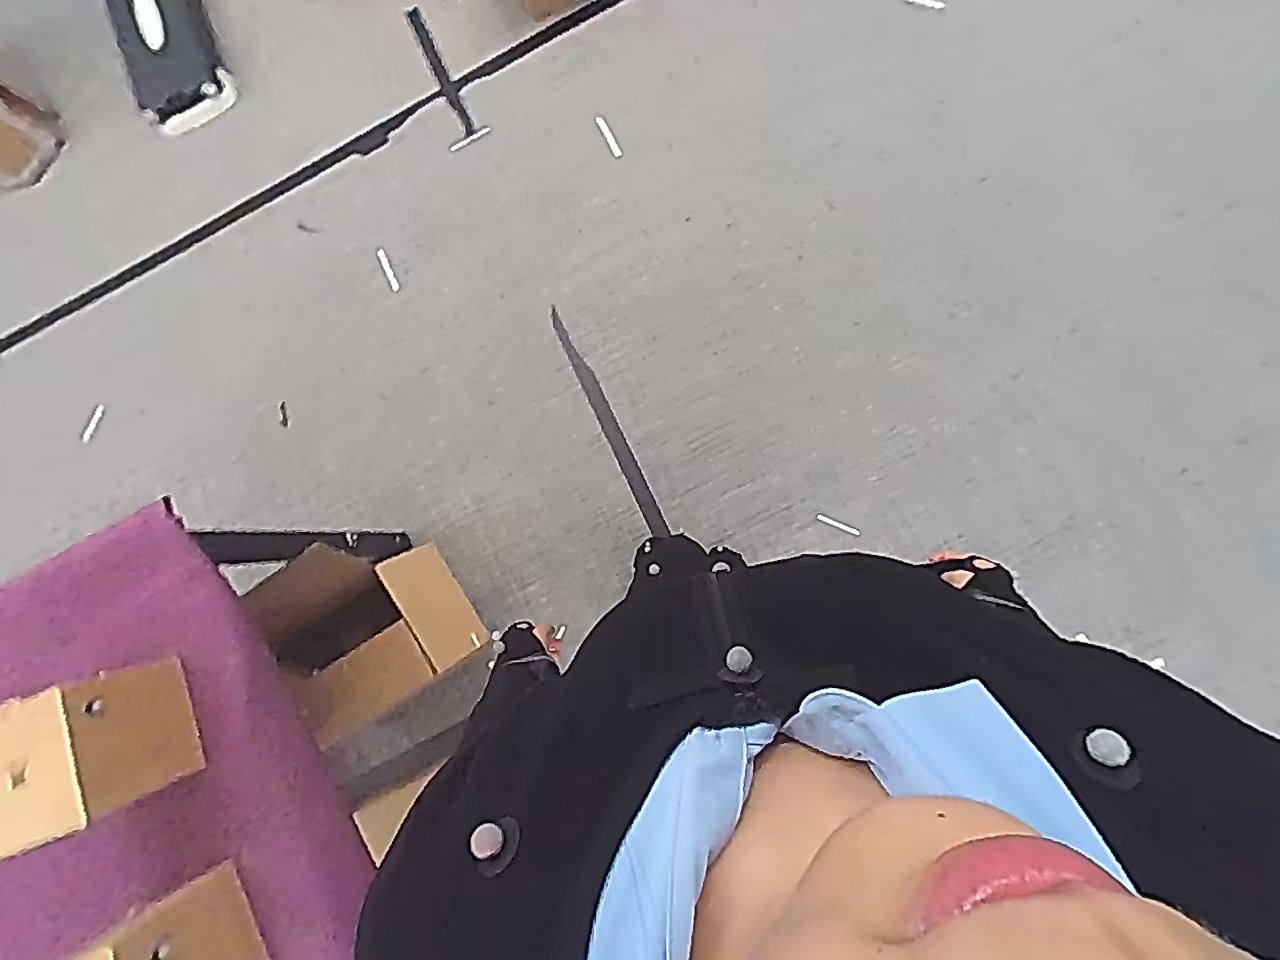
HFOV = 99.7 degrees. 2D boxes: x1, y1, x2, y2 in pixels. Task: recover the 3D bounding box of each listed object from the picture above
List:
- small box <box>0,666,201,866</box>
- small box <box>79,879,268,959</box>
[{"bbox_3d":[-0.764,0.383,0.751,0.168,0.176,0.179,-22,82,3],"label":"small box"},{"bbox_3d":[-0.633,0.670,0.704,0.168,0.176,0.179,-30,82,4],"label":"small box"}]
